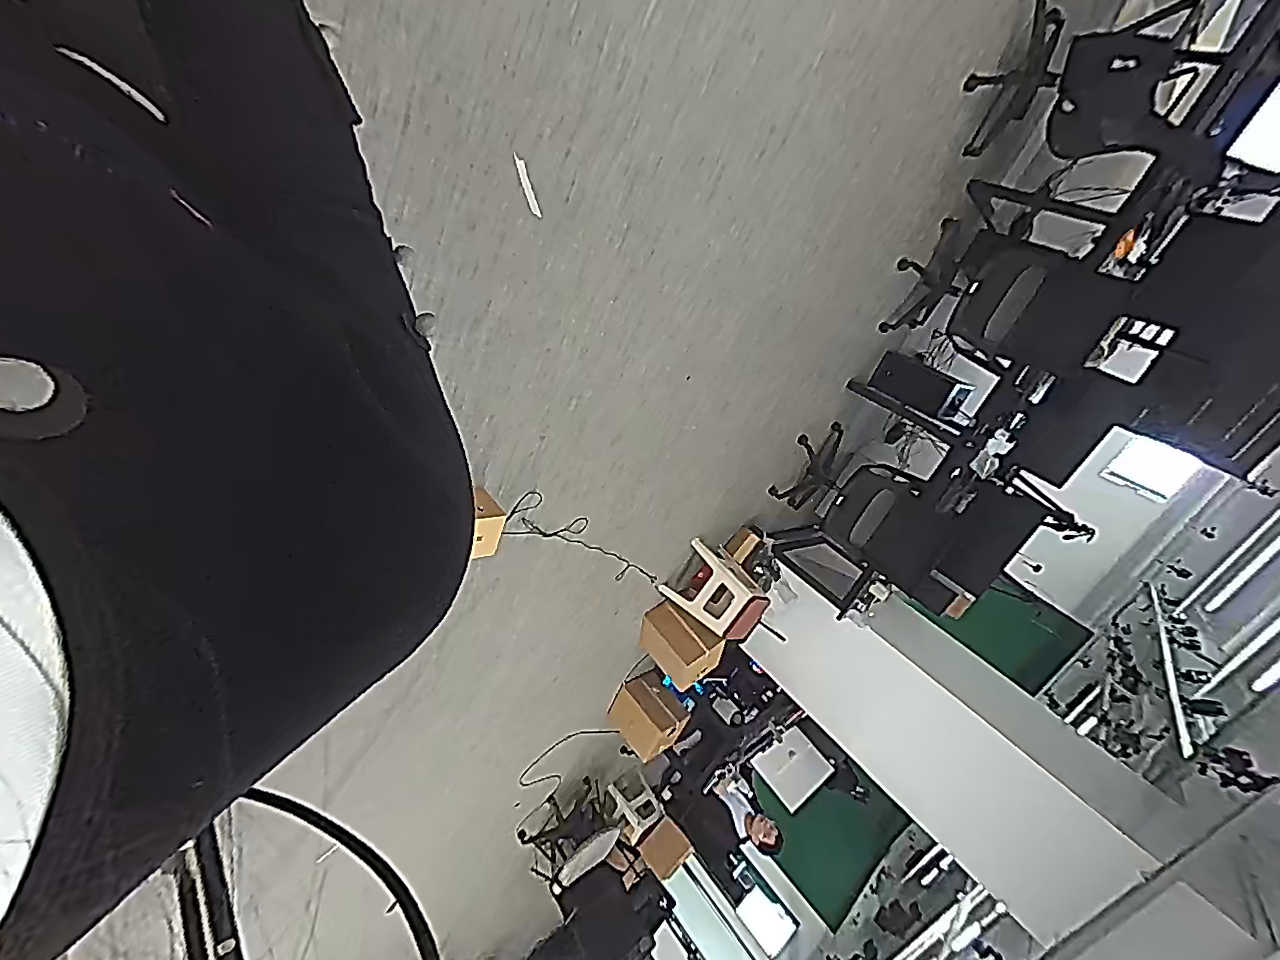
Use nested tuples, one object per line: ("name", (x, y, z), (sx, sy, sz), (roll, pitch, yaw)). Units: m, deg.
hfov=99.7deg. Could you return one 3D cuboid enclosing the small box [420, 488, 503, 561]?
("small box", (-0.580, 0.136, 1.749), (0.179, 0.176, 0.168), (-3, 124, -47))
